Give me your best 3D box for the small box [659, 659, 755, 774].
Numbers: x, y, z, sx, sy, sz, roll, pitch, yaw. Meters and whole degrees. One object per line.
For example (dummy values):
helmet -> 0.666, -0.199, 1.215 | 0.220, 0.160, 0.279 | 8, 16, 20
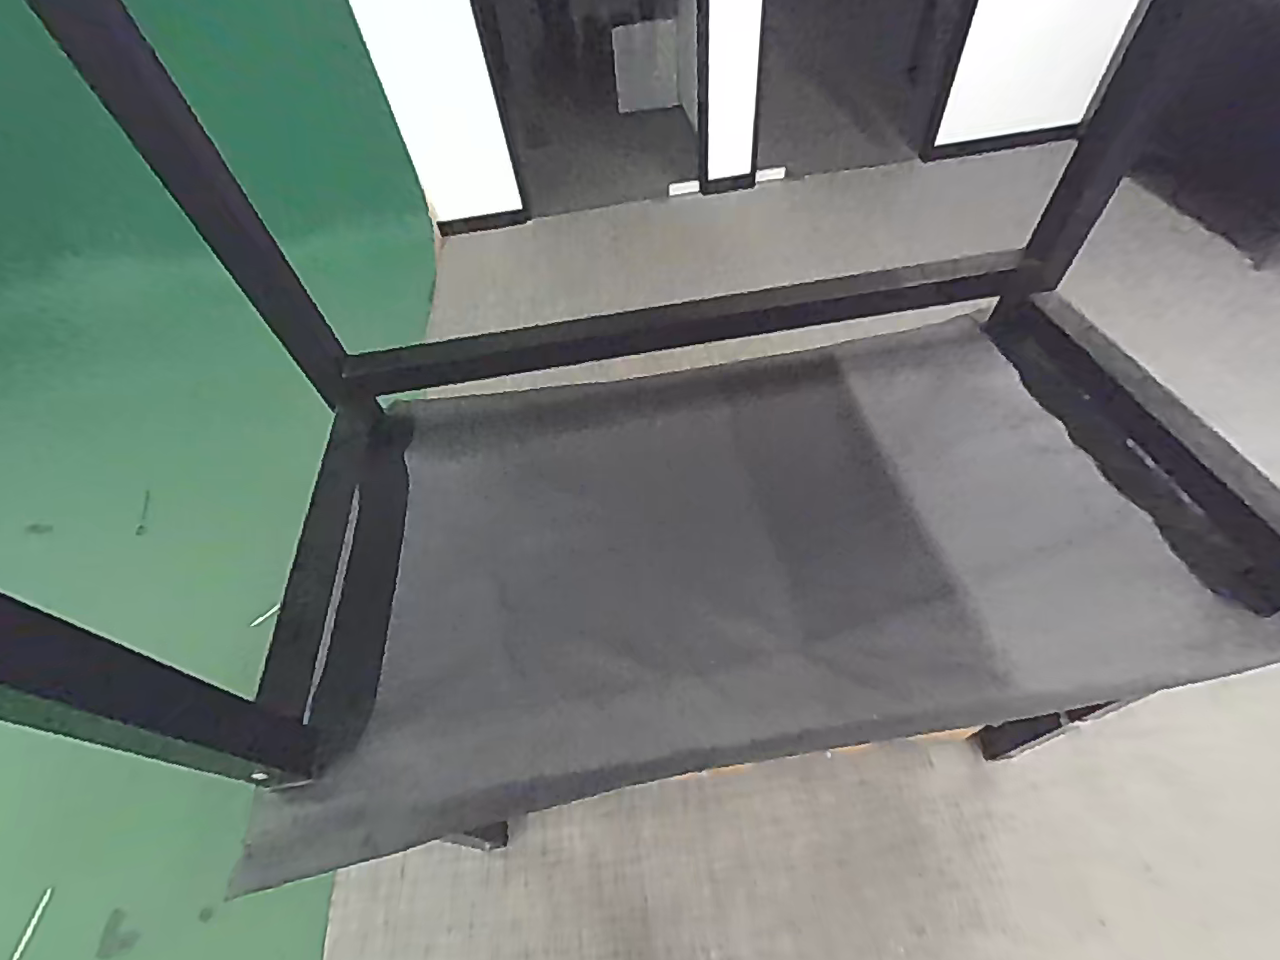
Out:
small box -> 0.130, 0.490, 1.113 | 0.168, 0.176, 0.179 | -7, 54, 0
